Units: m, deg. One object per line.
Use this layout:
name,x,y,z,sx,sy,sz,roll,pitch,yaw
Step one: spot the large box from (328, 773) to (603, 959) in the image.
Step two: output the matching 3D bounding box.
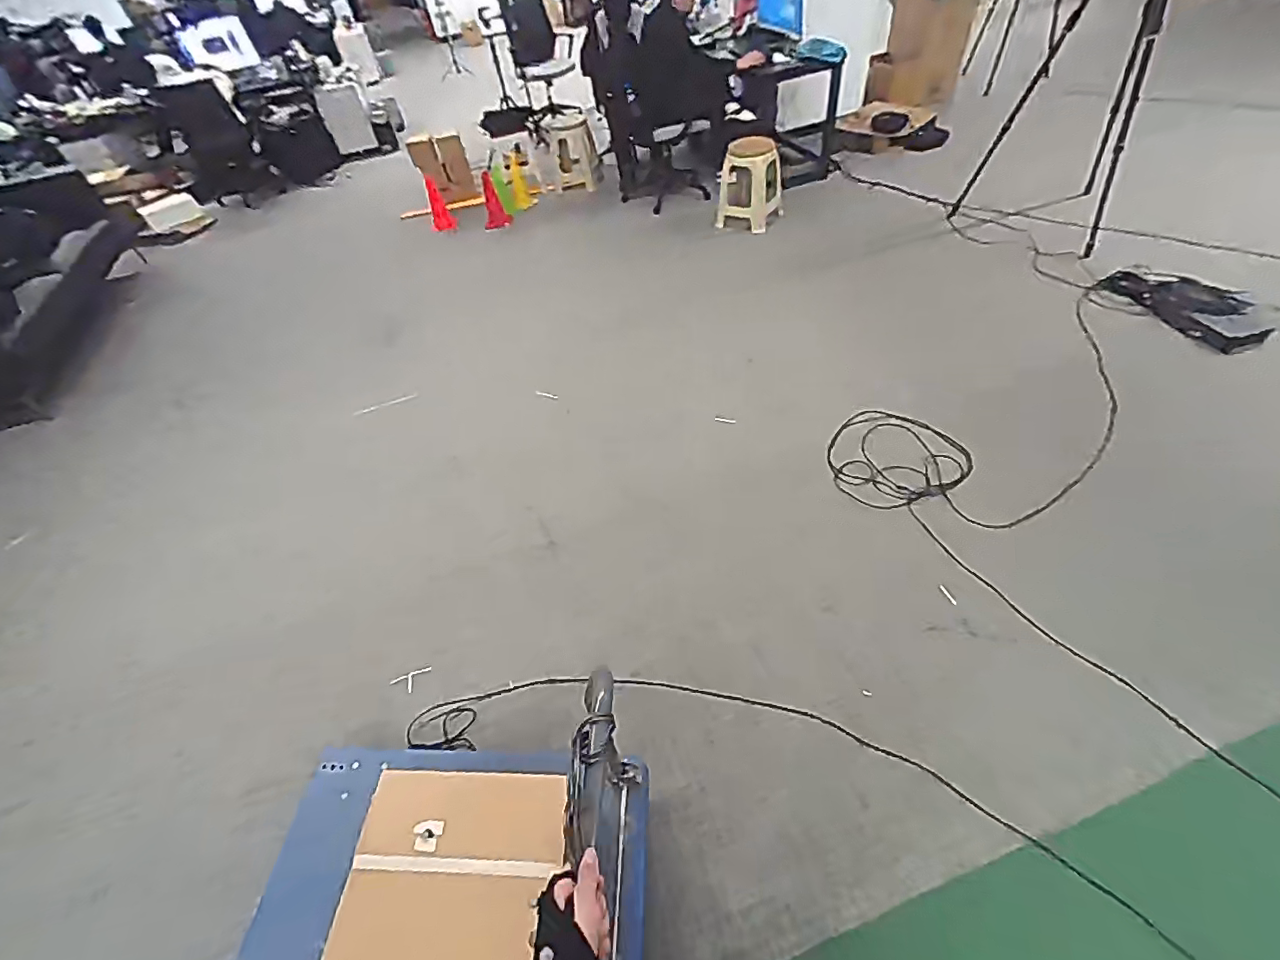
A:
large box,-0.304,0.797,1.083,0.408,0.320,0.320,-3,48,8
